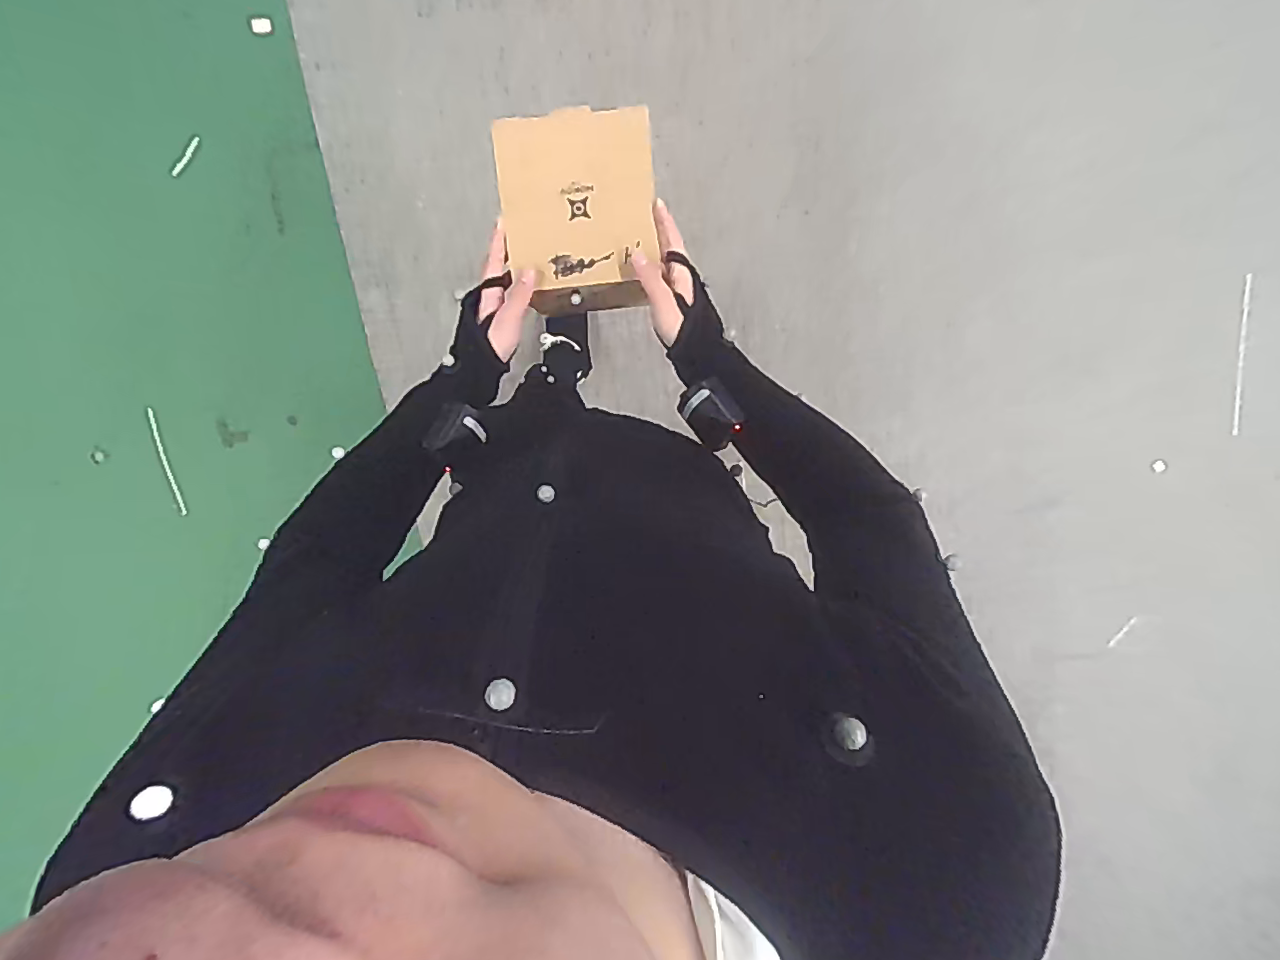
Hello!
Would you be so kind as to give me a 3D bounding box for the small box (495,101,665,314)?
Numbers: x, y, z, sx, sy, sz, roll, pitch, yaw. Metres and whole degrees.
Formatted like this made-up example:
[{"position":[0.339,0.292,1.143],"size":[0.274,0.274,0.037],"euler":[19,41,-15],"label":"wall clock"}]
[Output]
[{"position":[-0.062,-0.304,0.639],"size":[0.168,0.176,0.179],"euler":[-5,99,0],"label":"small box"}]
